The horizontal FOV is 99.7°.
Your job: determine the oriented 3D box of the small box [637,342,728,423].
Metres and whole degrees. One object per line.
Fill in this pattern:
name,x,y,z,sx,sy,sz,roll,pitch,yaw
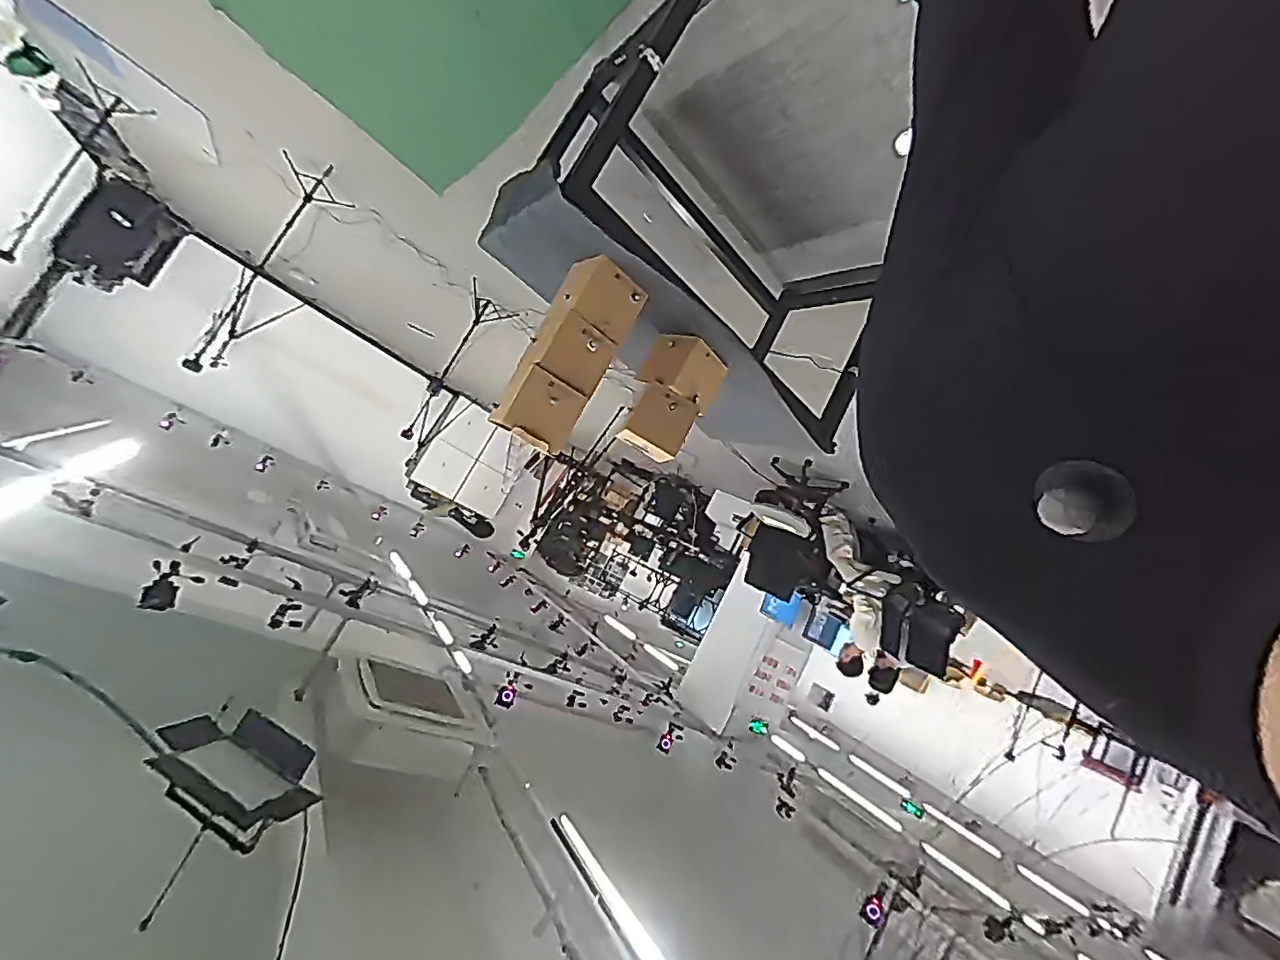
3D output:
small box,0.129,-0.295,1.612,0.179,0.176,0.168,21,169,47

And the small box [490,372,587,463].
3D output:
small box,-0.260,-0.164,1.394,0.168,0.176,0.179,30,173,-27

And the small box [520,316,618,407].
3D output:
small box,-0.184,-0.309,1.422,0.168,0.176,0.179,32,172,-30

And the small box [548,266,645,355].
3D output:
small box,-0.110,-0.450,1.446,0.168,0.176,0.179,33,172,-34
